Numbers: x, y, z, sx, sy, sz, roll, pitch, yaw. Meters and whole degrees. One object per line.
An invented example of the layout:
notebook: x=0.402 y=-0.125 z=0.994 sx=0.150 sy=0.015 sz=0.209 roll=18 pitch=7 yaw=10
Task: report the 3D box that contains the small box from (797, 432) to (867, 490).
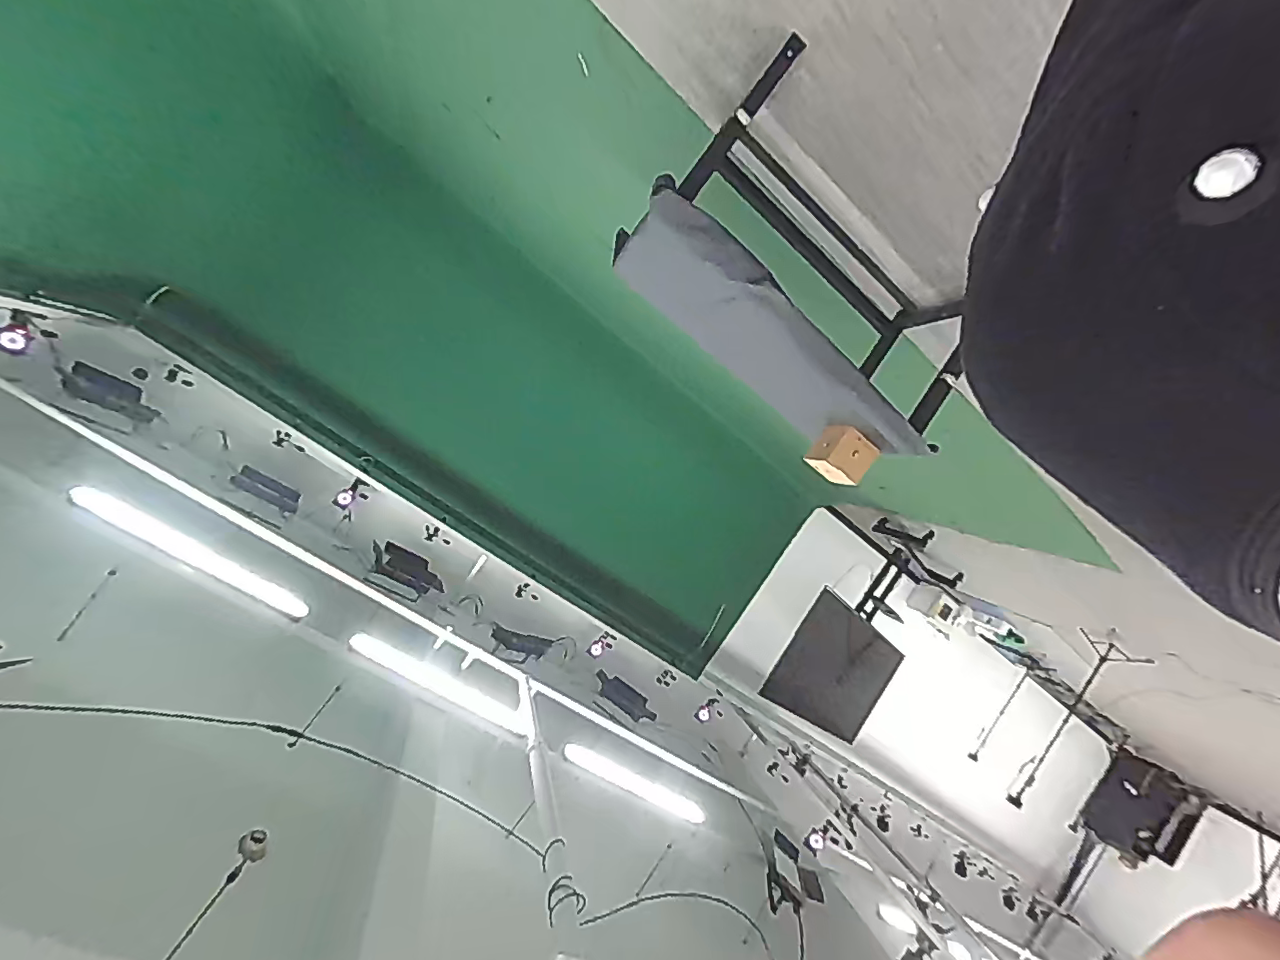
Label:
small box: x=0.768 y=-0.080 z=2.142 sx=0.168 sy=0.176 sz=0.179 roll=38 pitch=174 yaw=-14
